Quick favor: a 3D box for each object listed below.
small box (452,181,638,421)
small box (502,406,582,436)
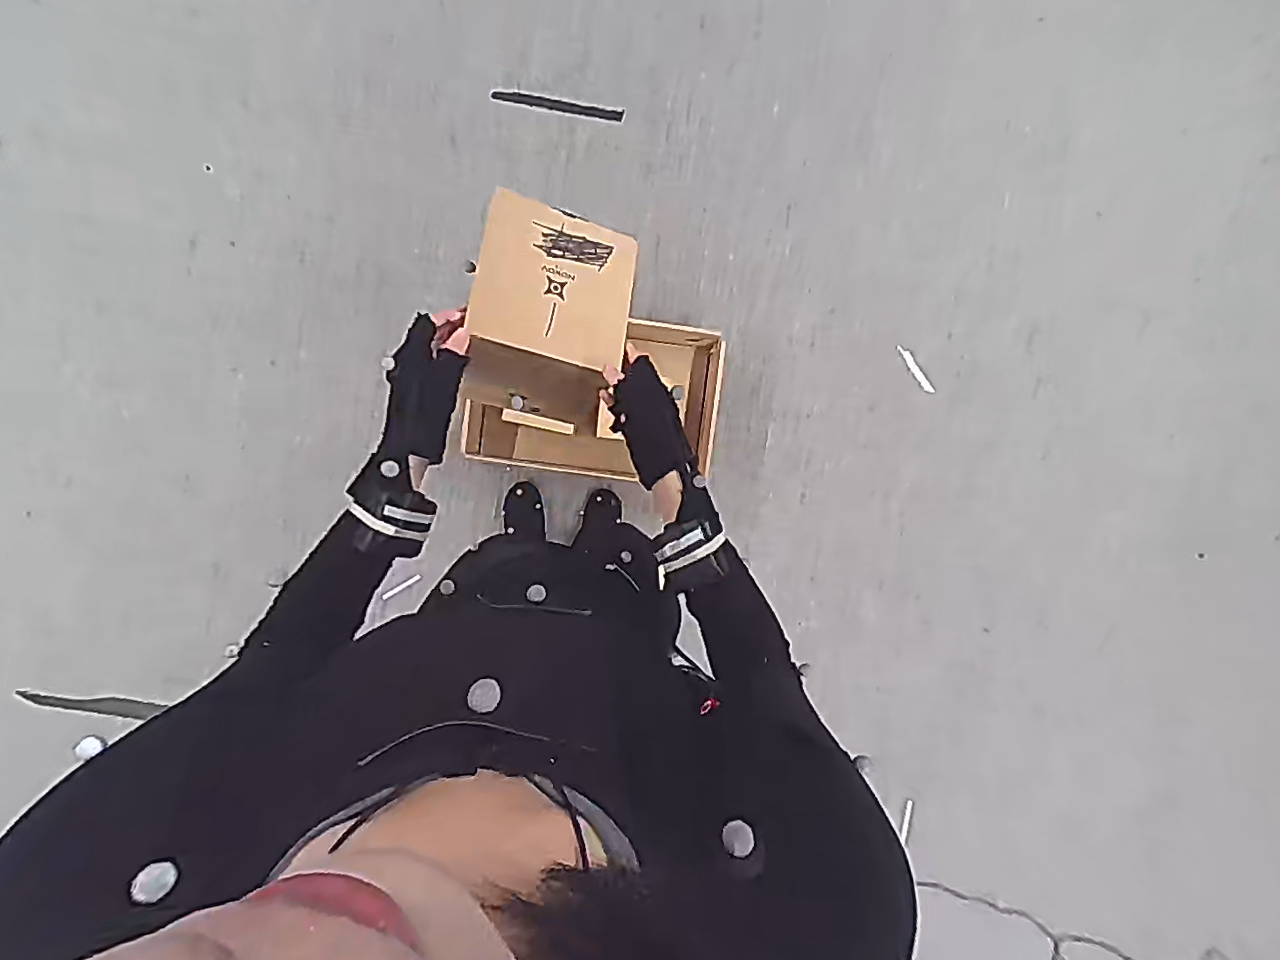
[{"bbox_3d":[-0.115,-0.191,0.628,0.168,0.176,0.179,12,72,-20],"label":"small box"},{"bbox_3d":[-0.234,-0.209,1.380,0.179,0.176,0.168,12,91,-4],"label":"small box"}]
